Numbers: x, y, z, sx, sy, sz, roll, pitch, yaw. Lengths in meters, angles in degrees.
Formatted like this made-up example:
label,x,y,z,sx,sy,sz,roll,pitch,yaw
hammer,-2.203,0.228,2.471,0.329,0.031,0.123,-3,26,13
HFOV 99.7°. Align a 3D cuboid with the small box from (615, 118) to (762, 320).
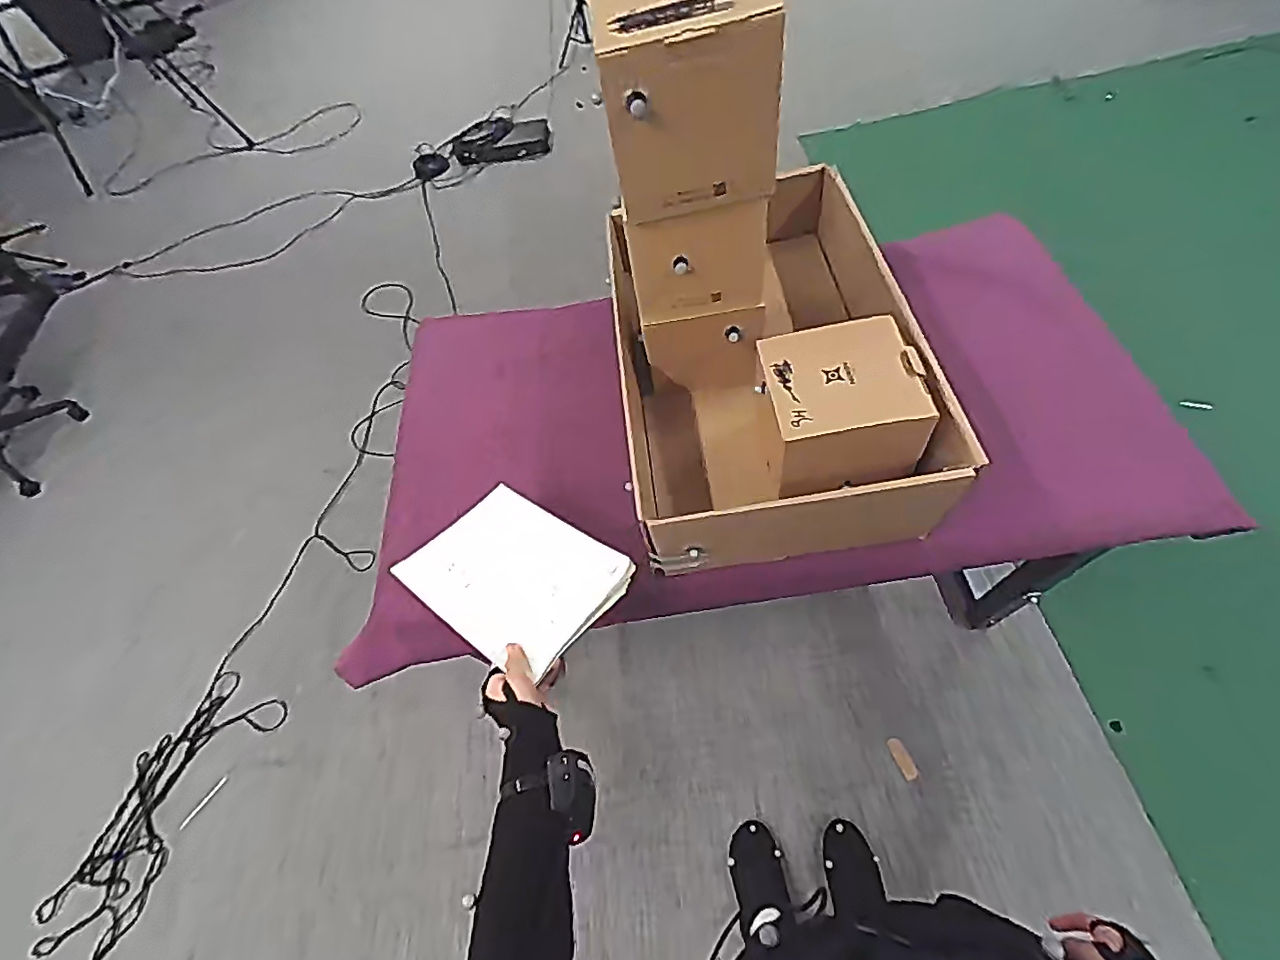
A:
label,x,y,z,sx,sy,sz,roll,pitch,yaw
small box,0.066,-0.334,0.721,0.168,0.176,0.179,-8,60,6
